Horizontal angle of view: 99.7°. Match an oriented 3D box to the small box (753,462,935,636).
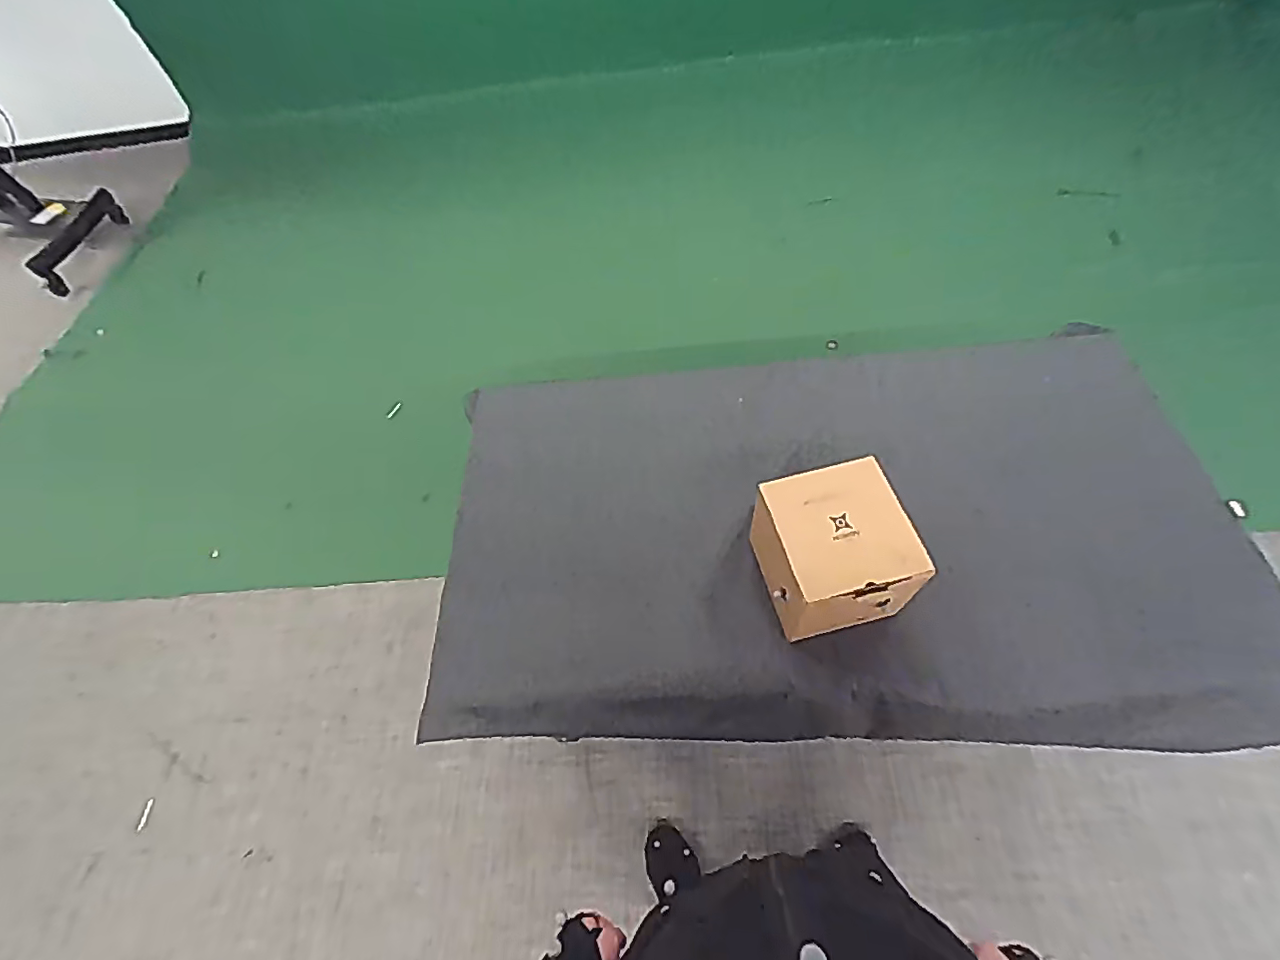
[{"bbox_3d":[0.269,0.105,0.759,0.168,0.176,0.179,-14,57,-3],"label":"small box"}]
